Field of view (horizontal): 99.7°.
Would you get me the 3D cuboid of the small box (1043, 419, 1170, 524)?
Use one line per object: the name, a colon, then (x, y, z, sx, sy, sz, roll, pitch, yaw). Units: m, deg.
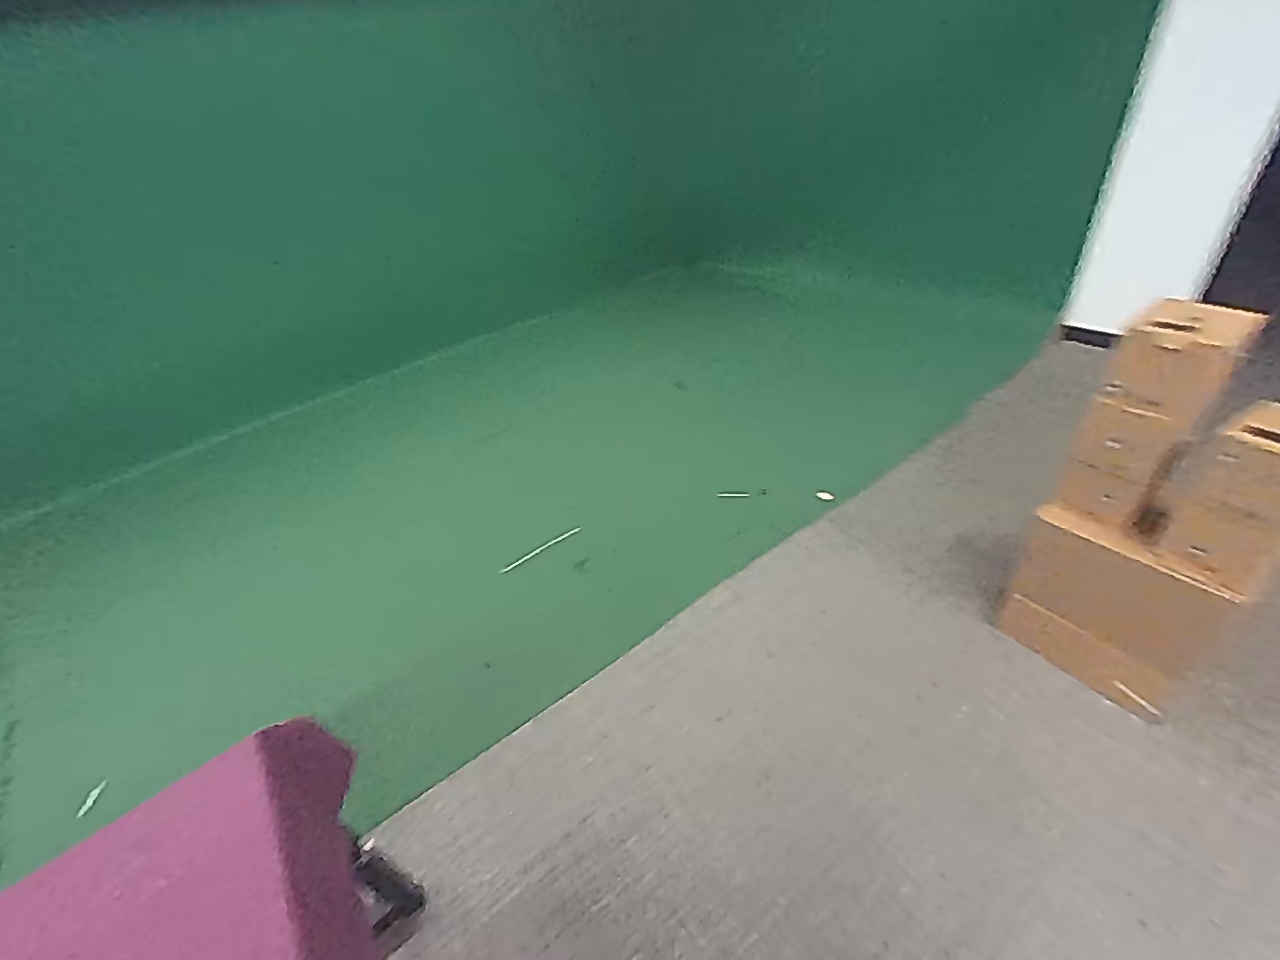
small box: (1.147, -0.020, 1.347, 0.179, 0.176, 0.168, -29, 43, -21)

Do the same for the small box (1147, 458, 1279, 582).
small box: (1.266, 0.087, 1.176, 0.179, 0.176, 0.168, -26, 38, -17)

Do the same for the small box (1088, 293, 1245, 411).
small box: (1.093, -0.268, 1.139, 0.179, 0.176, 0.168, -30, 43, -23)
